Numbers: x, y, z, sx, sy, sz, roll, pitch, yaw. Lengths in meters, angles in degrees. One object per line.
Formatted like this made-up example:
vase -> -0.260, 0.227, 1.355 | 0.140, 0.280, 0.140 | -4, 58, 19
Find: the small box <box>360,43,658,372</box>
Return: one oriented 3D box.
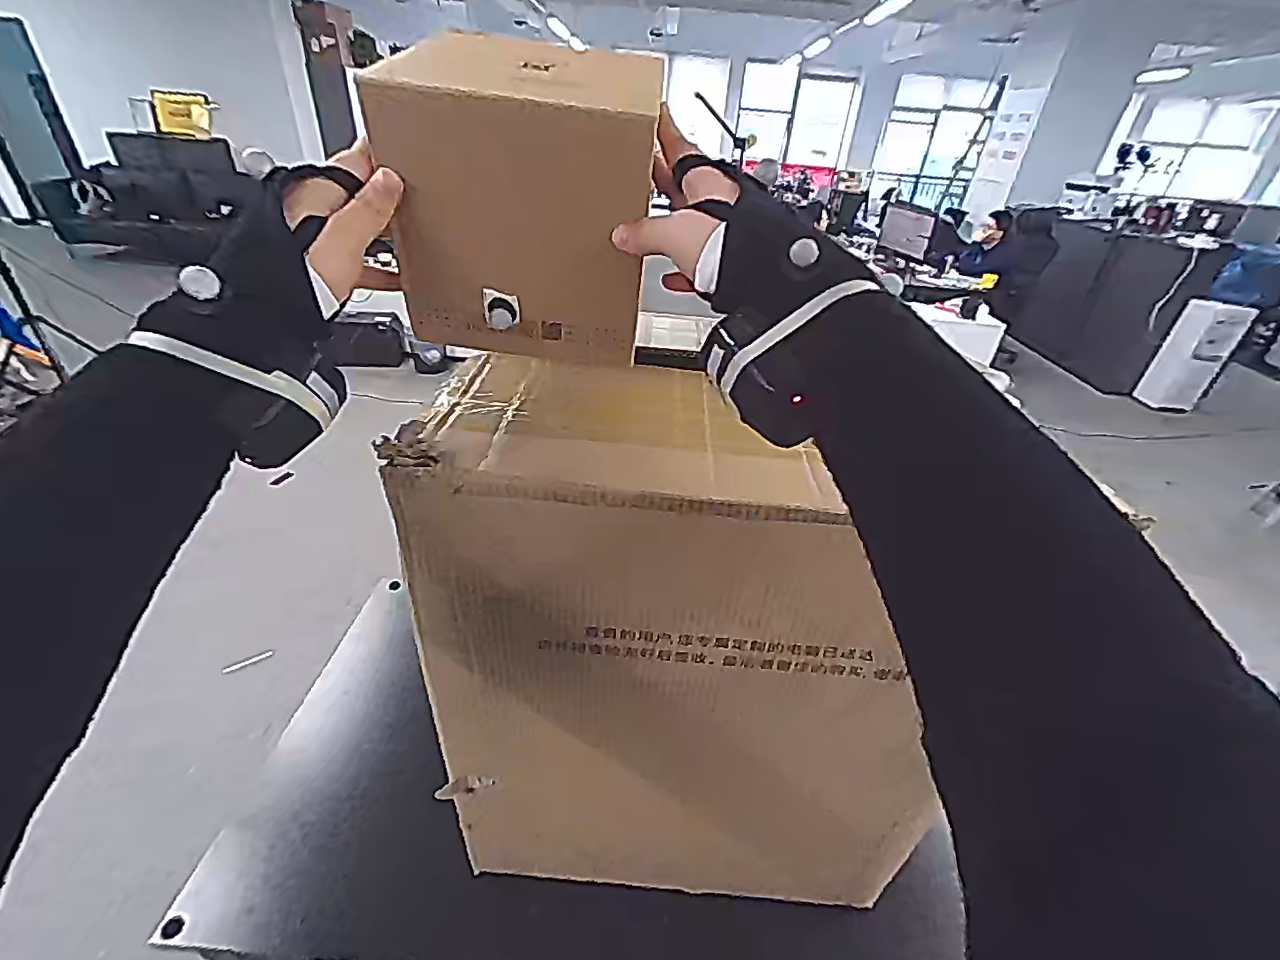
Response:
small box -> -0.077, -0.206, 0.412 | 0.168, 0.176, 0.179 | 4, 47, -2
